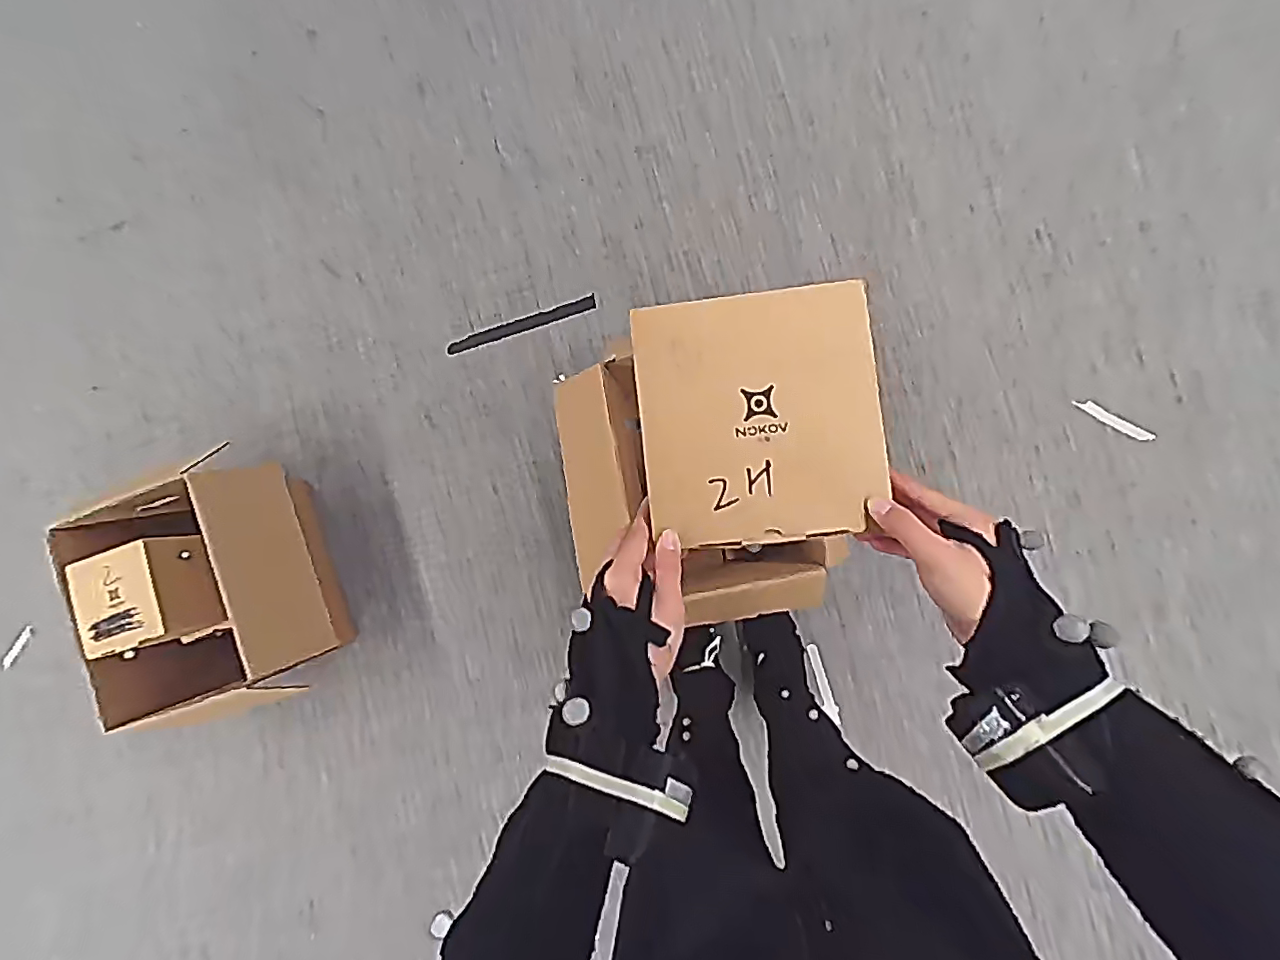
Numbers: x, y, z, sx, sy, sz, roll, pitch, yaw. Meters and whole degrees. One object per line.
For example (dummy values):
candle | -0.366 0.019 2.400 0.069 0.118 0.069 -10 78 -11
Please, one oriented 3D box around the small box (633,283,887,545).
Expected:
small box | 0.087 -0.042 0.462 0.168 0.176 0.179 -6 87 4
